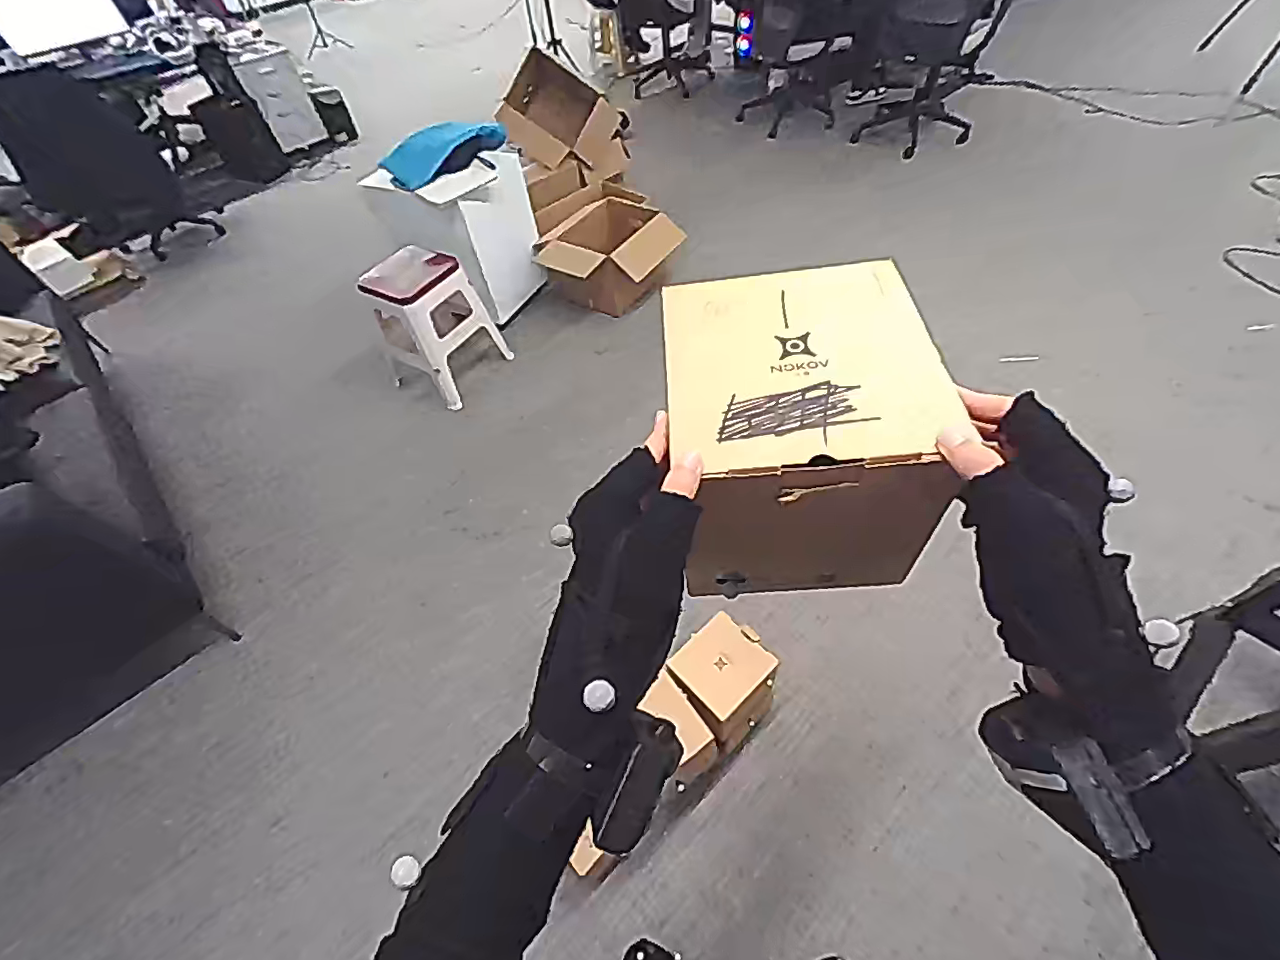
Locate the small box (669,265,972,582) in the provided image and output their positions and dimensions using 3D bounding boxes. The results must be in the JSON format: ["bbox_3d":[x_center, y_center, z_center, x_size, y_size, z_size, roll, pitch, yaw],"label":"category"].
[{"bbox_3d":[0.112,-0.031,0.412,0.168,0.176,0.179,-4,53,7],"label":"small box"}]
